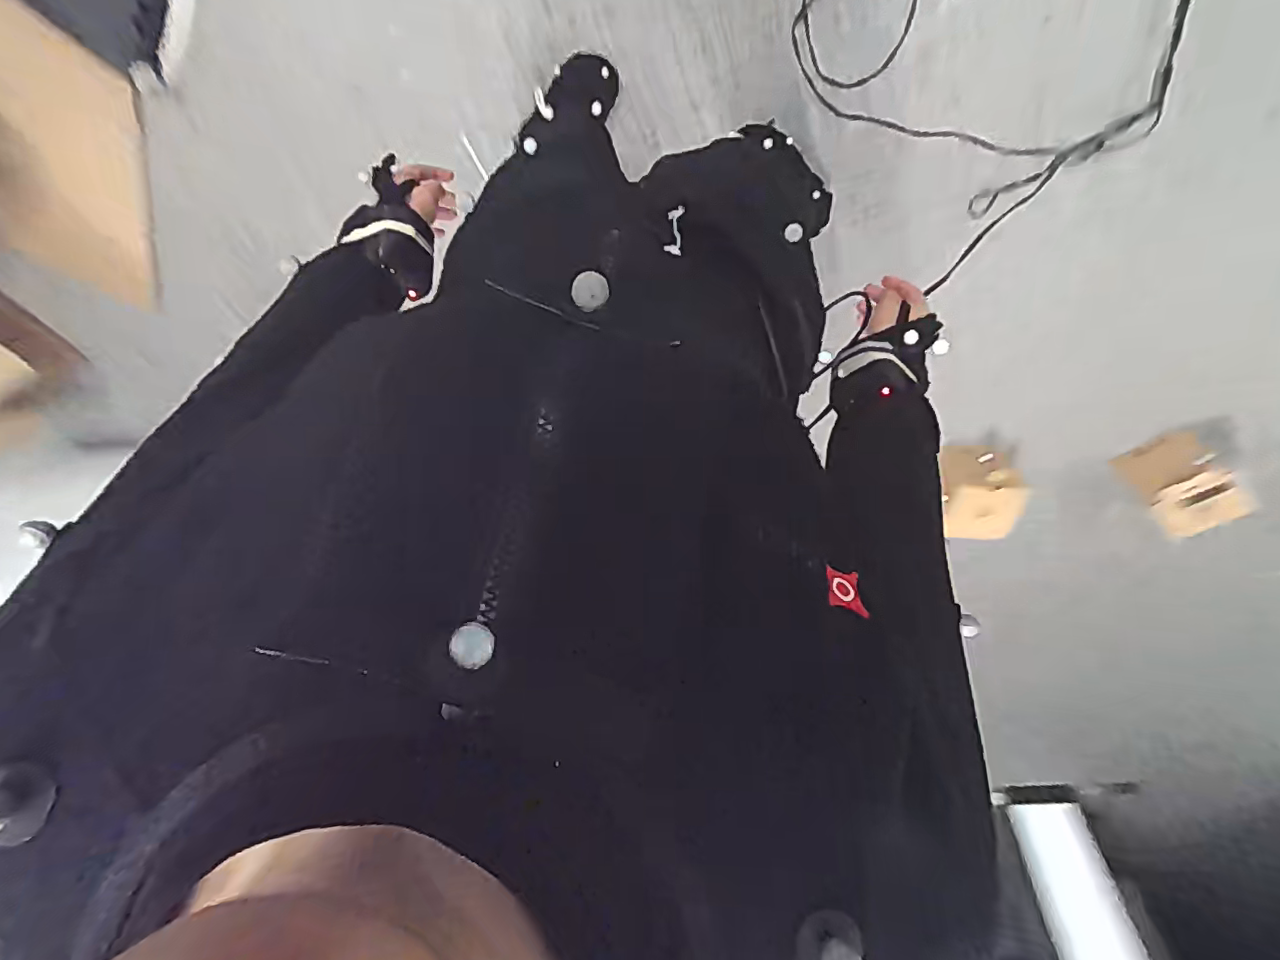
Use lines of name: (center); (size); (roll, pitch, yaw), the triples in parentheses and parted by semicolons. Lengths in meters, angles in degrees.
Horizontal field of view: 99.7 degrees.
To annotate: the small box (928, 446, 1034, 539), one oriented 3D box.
small box: (0.873, 0.031, 1.408); (0.168, 0.176, 0.179); (2, 130, 8)
